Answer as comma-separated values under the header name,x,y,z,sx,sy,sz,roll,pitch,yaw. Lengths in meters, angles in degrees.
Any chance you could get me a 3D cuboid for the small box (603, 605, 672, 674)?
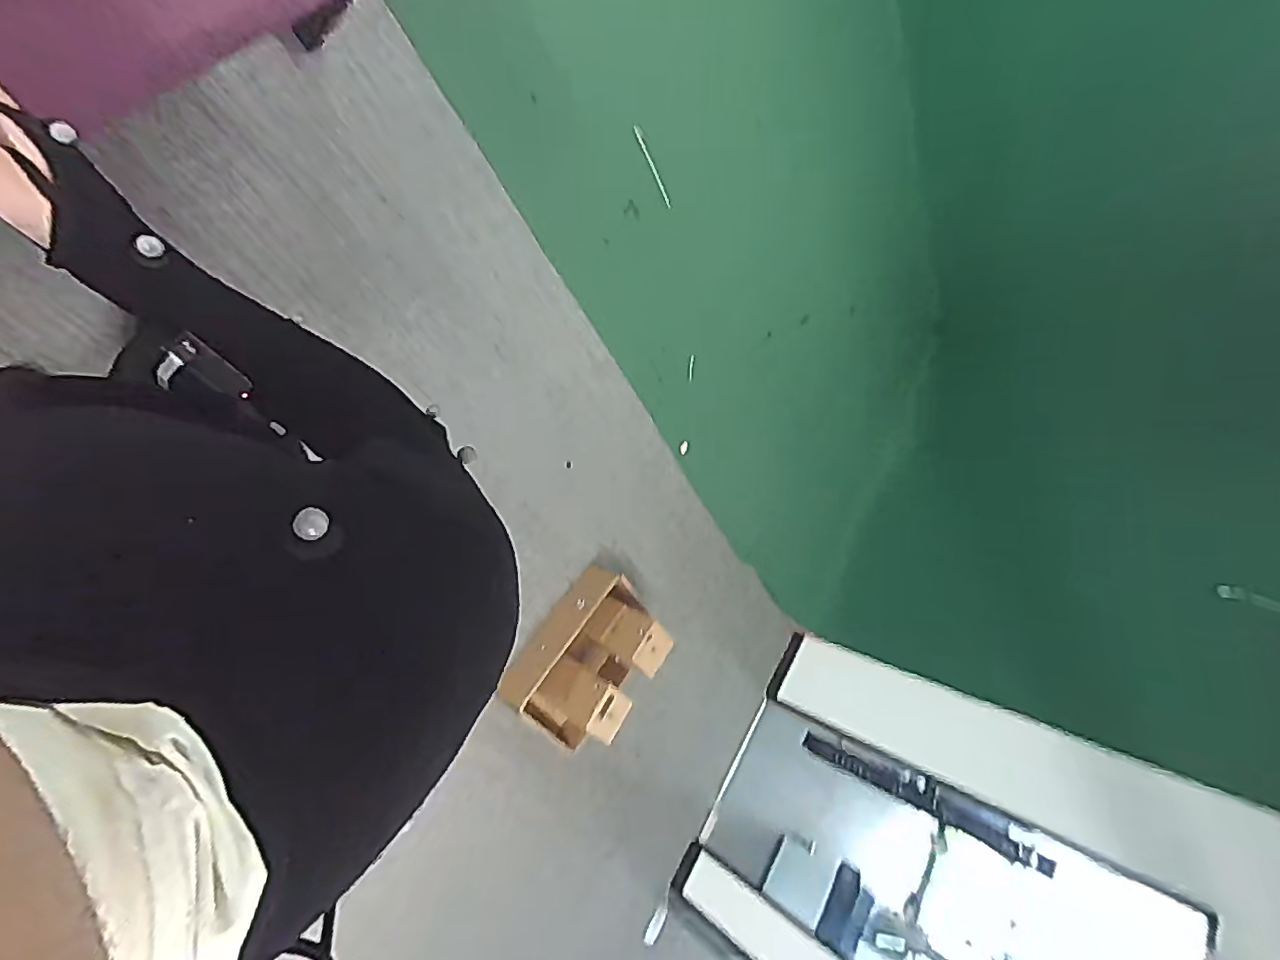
name,x,y,z,sx,sy,sz,roll,pitch,yaw
small box,-0.010,0.607,2.080,0.168,0.176,0.179,-54,134,-24
